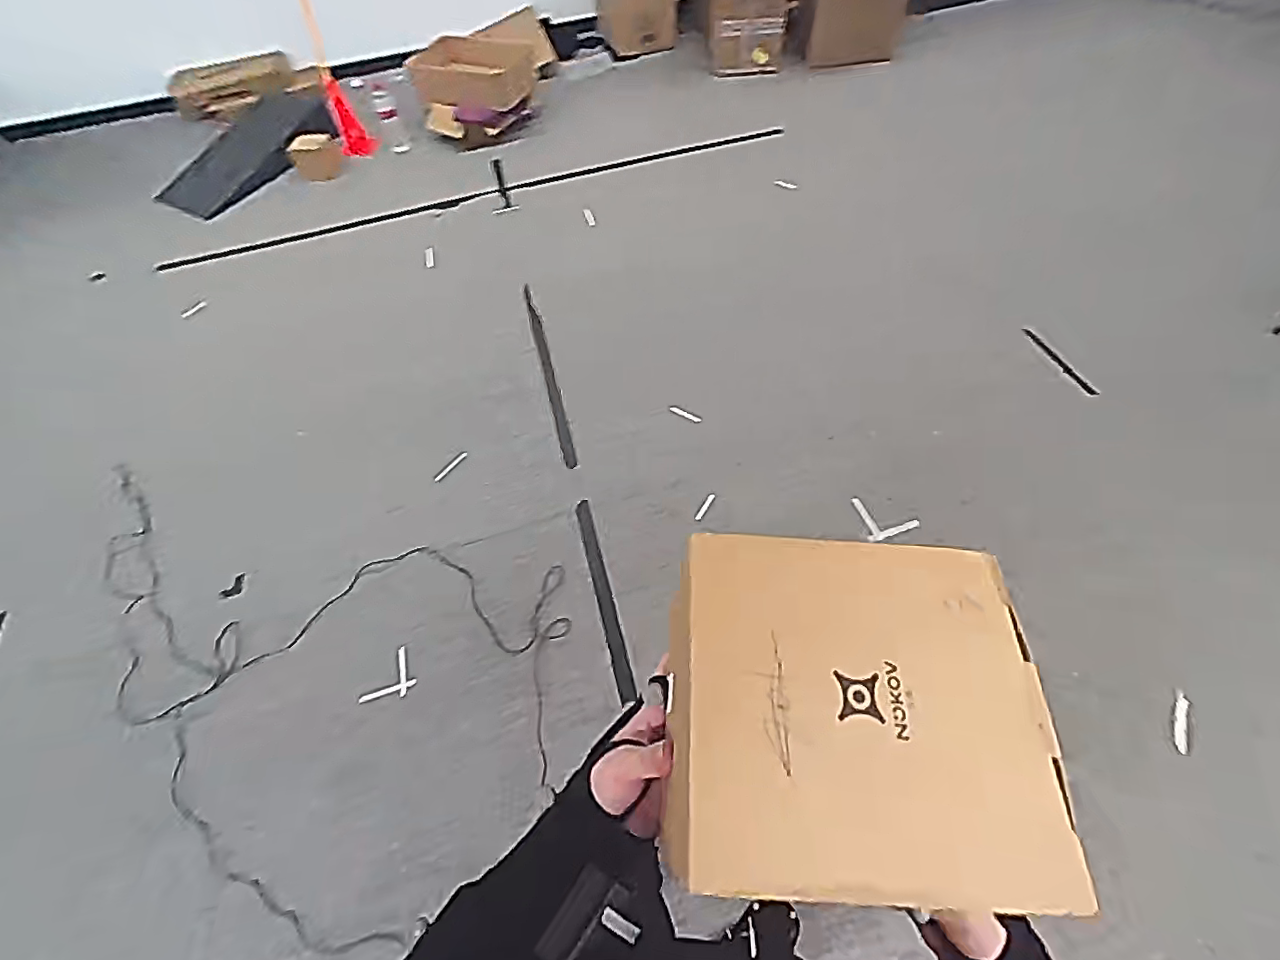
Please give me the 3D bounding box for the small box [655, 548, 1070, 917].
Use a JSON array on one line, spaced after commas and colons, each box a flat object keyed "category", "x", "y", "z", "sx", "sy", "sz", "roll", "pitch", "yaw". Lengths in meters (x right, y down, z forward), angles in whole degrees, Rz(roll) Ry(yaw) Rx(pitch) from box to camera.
[{"category": "small box", "x": 0.104, "y": 0.155, "z": 0.343, "sx": 0.179, "sy": 0.176, "sz": 0.168, "roll": 2, "pitch": 59, "yaw": 0}]
